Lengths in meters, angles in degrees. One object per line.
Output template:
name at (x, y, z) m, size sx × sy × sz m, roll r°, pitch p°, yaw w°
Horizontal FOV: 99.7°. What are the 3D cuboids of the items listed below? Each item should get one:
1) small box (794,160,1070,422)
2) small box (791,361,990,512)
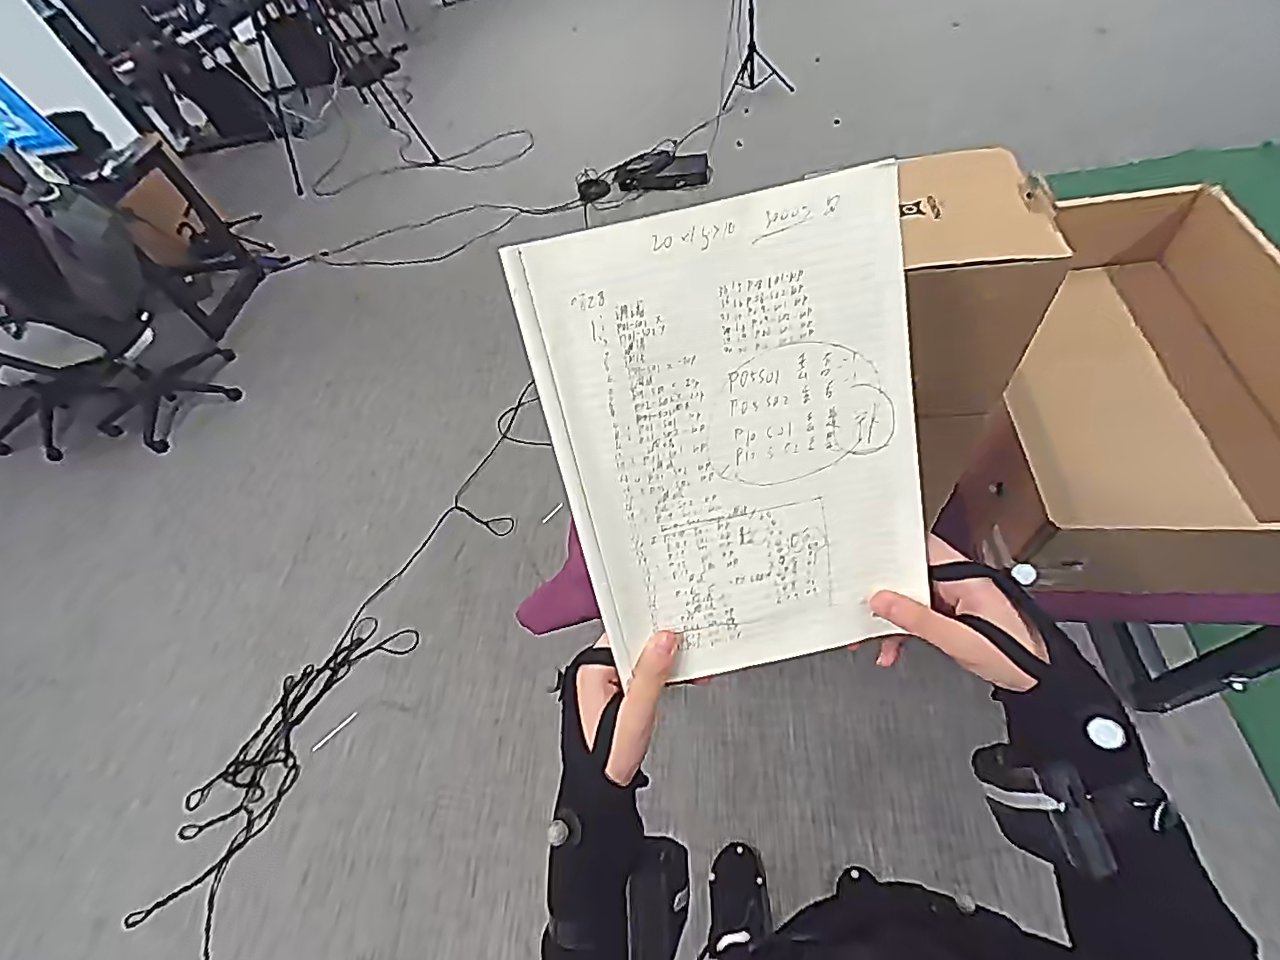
small box at (0.246, -0.169, 0.513) m, size 0.179 × 0.176 × 0.168 m, roll -1°, pitch 53°, yaw 11°
small box at (0.276, -0.073, 0.643) m, size 0.179 × 0.176 × 0.168 m, roll -1°, pitch 53°, yaw 13°
